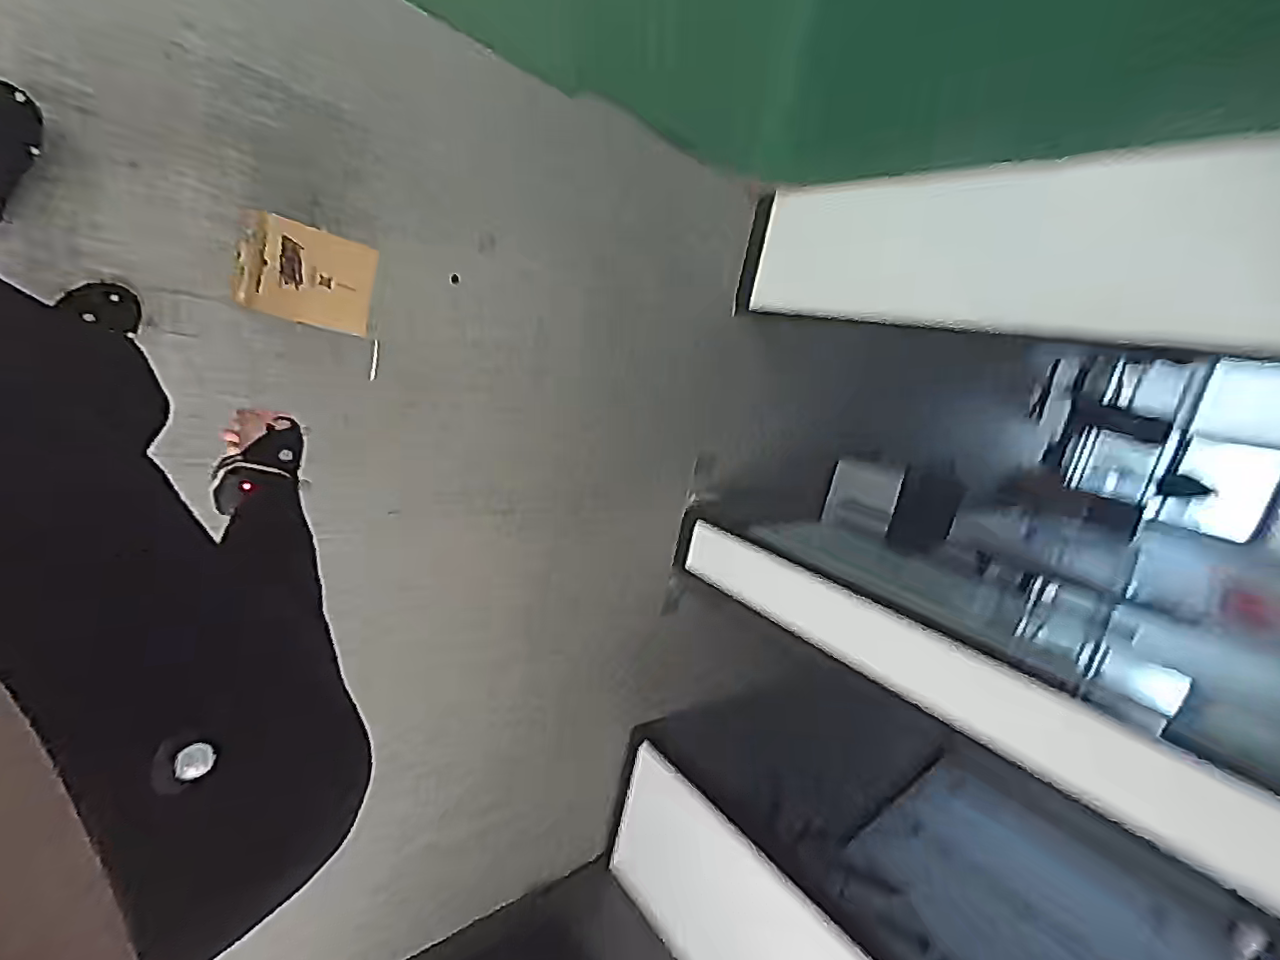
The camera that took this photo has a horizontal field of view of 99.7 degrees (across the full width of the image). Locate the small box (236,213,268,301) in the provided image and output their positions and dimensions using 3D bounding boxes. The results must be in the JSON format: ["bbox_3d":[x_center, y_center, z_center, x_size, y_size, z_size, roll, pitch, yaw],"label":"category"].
[{"bbox_3d":[-0.729,-0.435,1.135,0.179,0.176,0.168,9,101,-42],"label":"small box"}]

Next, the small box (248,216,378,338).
[{"bbox_3d":[-0.631,-0.382,1.036,0.179,0.176,0.168,7,103,-43],"label":"small box"}]
